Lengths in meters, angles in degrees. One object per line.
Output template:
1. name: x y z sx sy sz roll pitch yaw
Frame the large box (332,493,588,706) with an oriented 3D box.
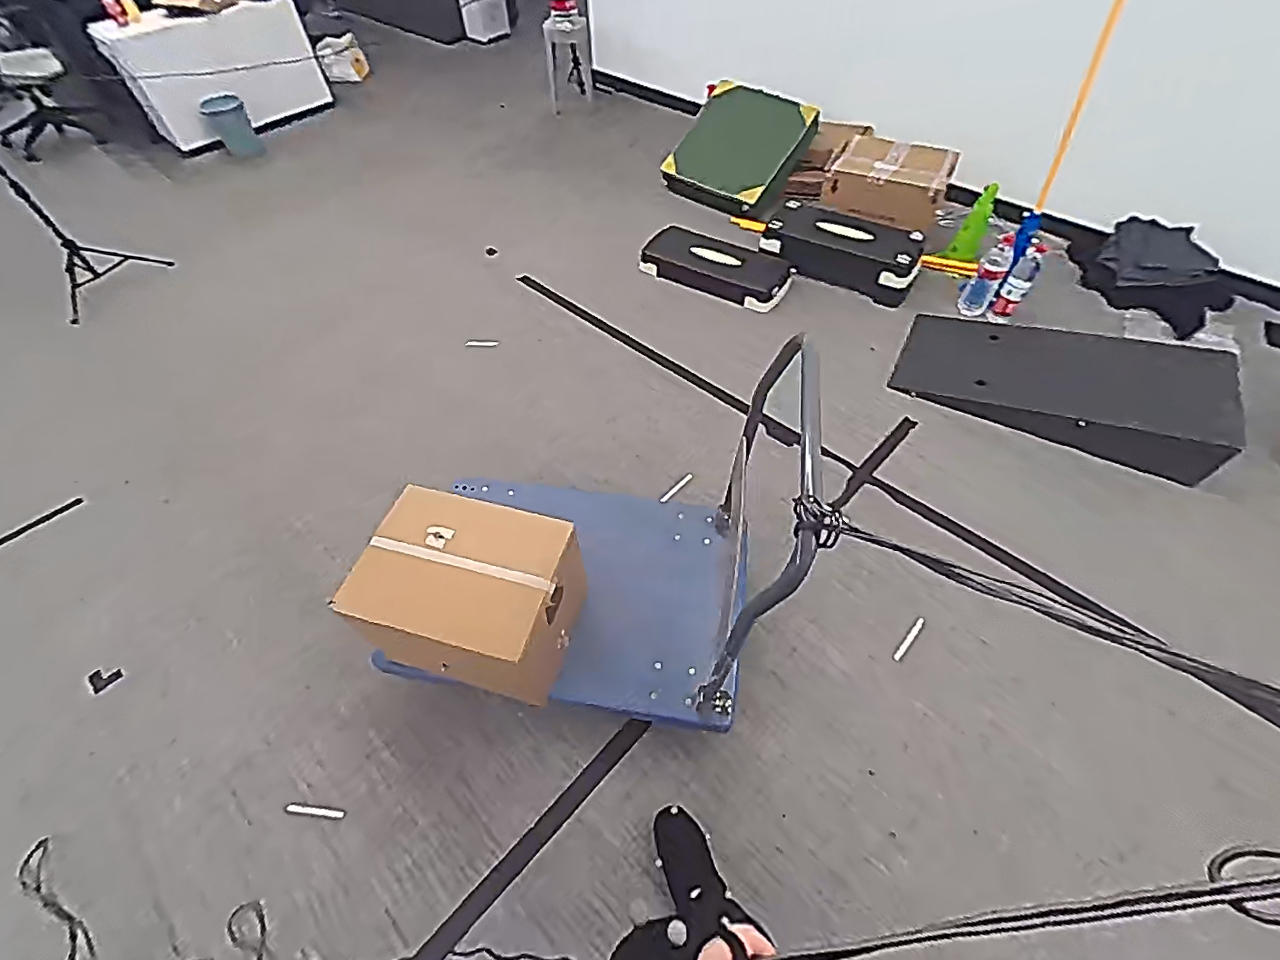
1. large box: -0.363 0.272 1.214 0.408 0.320 0.320 11 54 10
